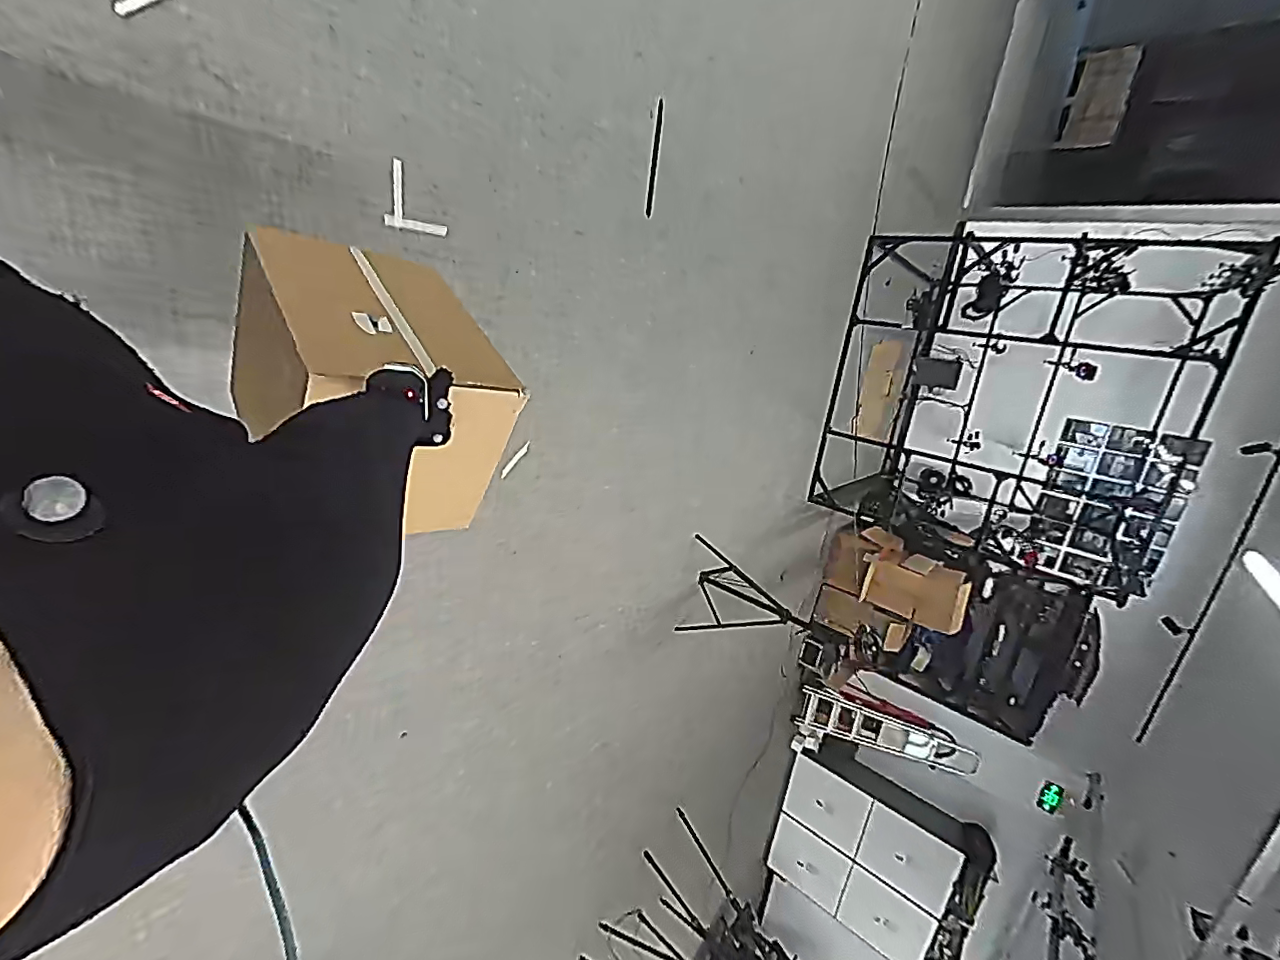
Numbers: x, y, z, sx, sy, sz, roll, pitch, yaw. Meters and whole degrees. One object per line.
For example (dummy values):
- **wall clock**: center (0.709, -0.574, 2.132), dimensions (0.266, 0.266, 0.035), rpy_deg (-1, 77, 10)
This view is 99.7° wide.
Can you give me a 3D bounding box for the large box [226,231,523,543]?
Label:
- **large box**: center (-0.475, -0.153, 0.936), dimensions (0.320, 0.408, 0.320), rpy_deg (-4, 137, -46)
